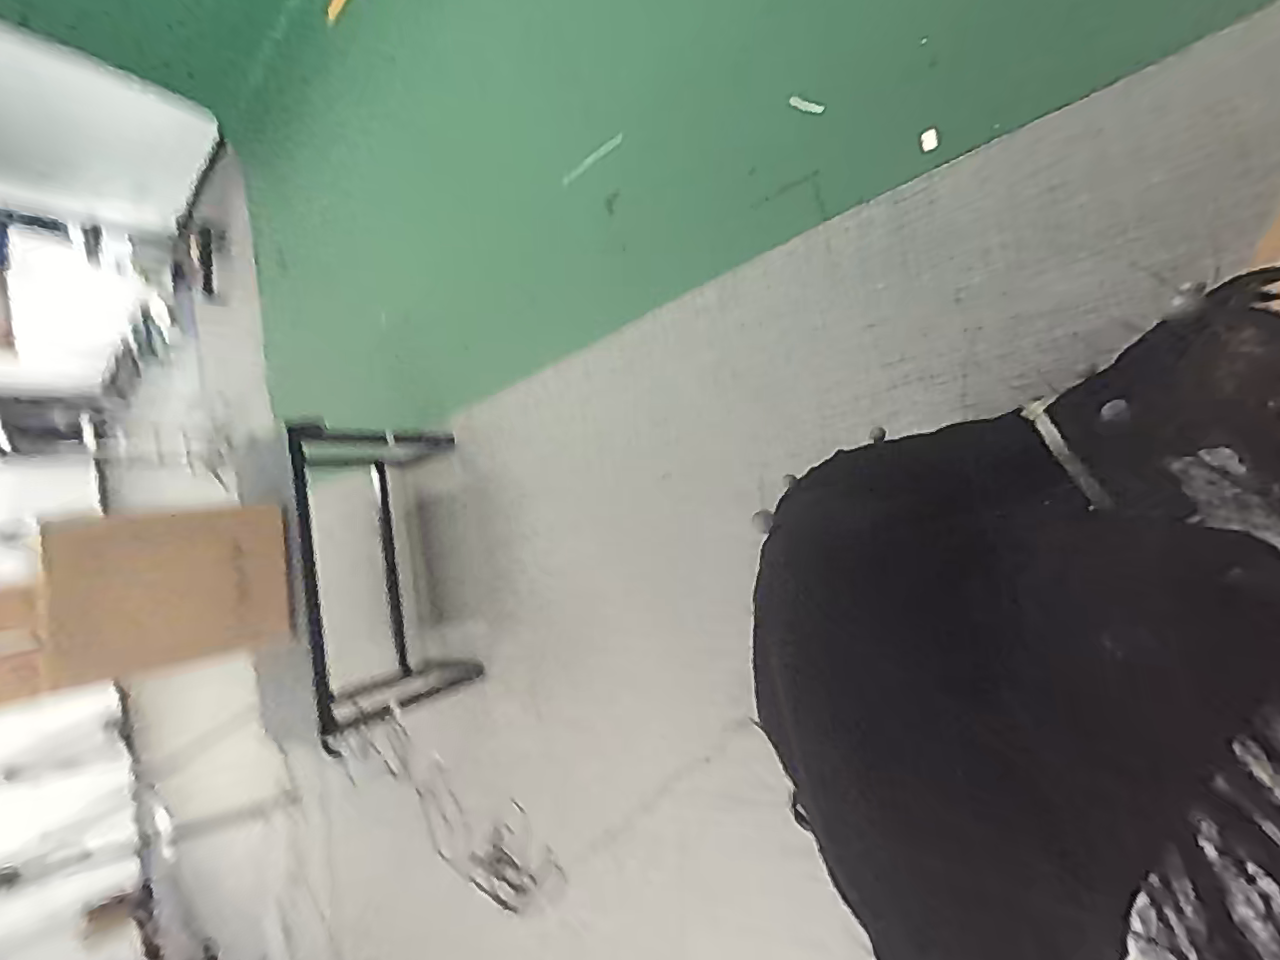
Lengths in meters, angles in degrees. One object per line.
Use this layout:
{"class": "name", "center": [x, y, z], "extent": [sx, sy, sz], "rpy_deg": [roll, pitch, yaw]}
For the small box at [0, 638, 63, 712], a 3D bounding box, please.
{"class": "small box", "center": [-1.807, 0.565, 1.565], "extent": [0.179, 0.176, 0.168], "rpy_deg": [-7, 90, 37]}
